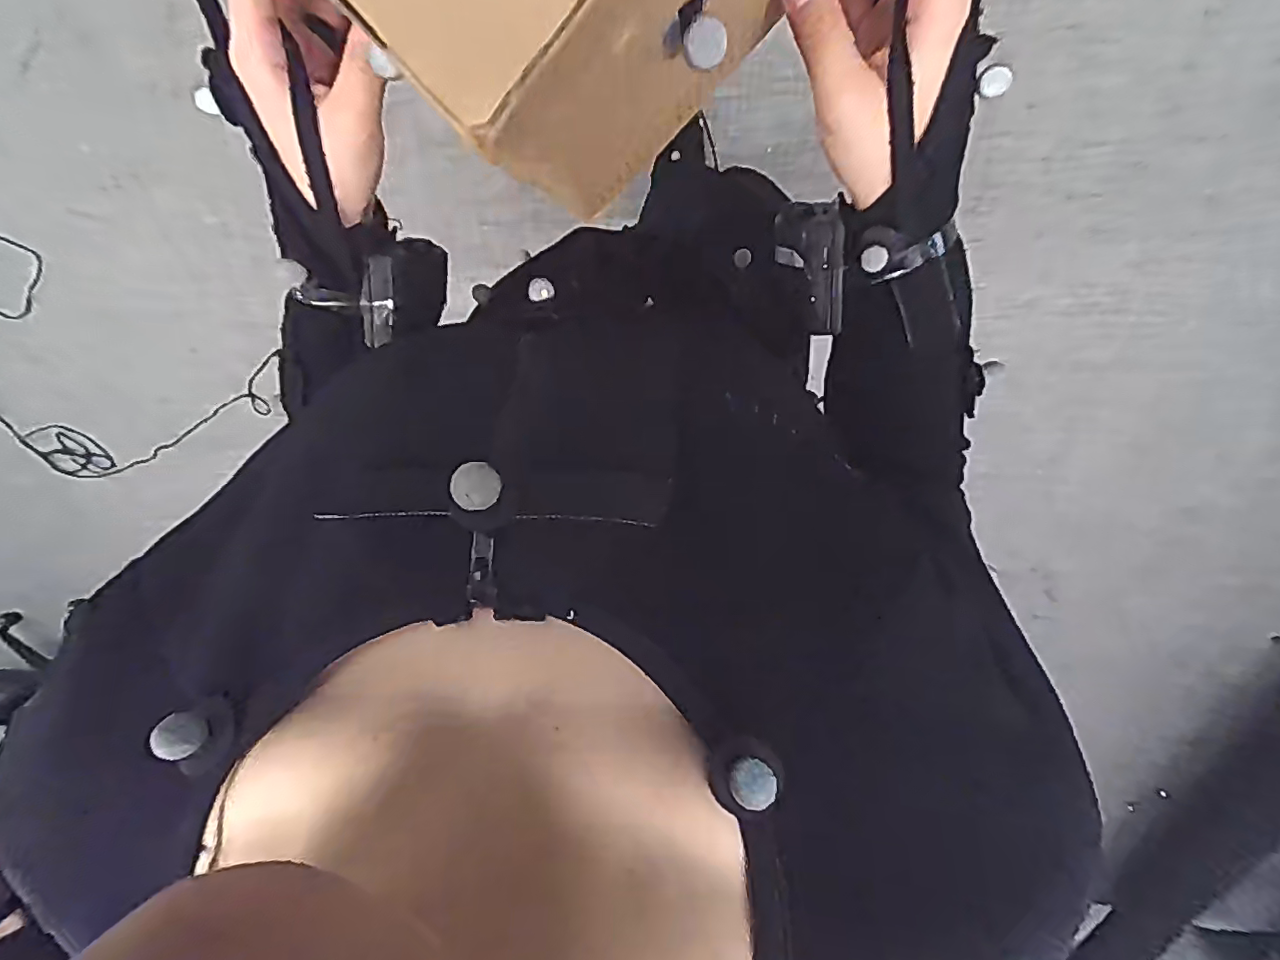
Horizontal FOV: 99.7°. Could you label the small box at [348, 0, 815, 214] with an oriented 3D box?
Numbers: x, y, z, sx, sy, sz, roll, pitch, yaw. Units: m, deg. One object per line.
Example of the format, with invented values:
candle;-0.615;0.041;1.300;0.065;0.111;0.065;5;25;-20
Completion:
small box;-0.021;-0.222;0.183;0.179;0.176;0.168;-42;101;17
